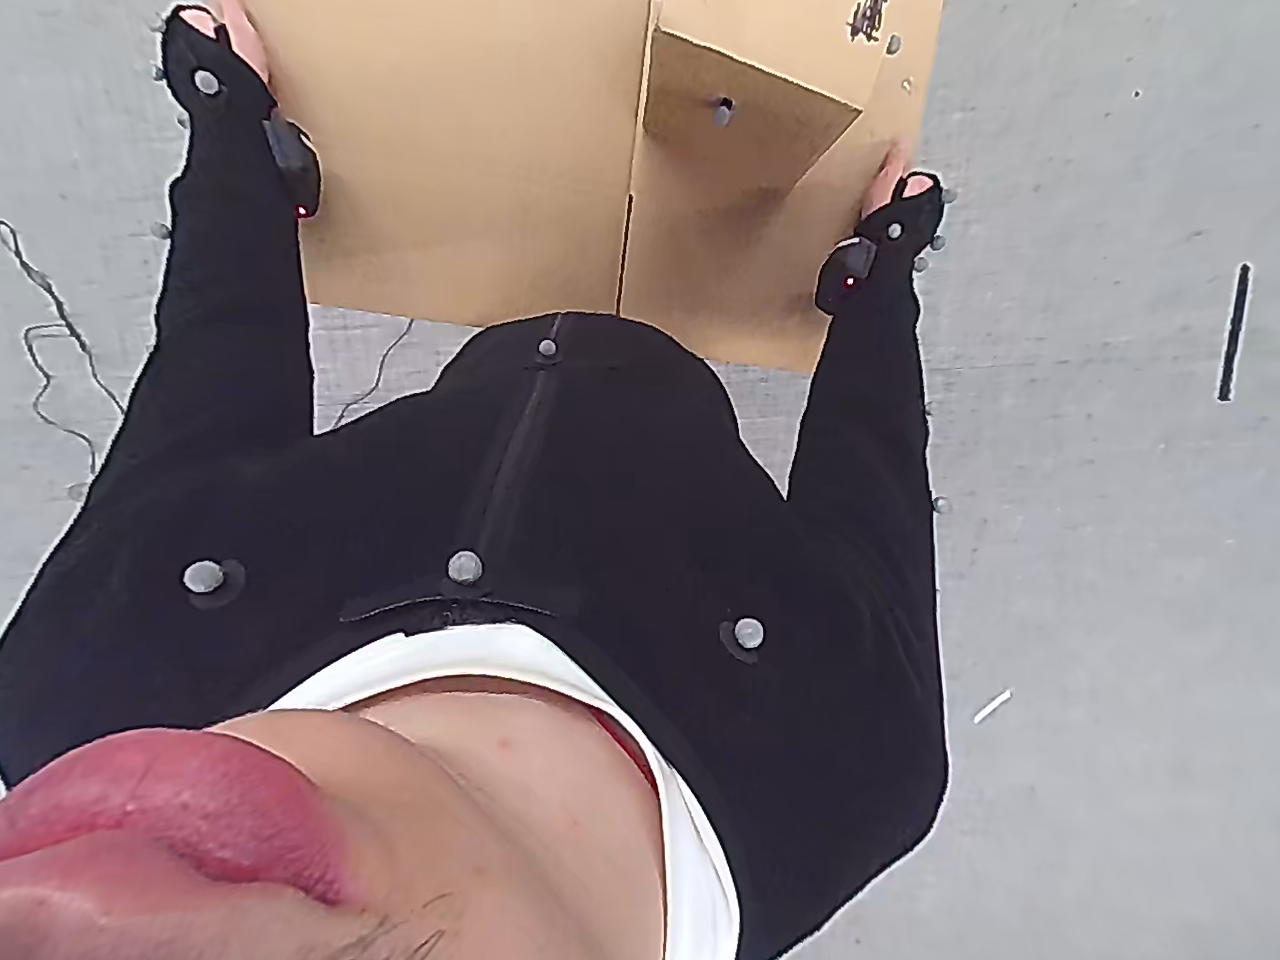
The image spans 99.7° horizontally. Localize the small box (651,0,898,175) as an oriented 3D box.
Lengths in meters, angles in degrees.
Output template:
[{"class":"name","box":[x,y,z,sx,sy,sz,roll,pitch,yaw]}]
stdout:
[{"class":"small box","box":[0.115,-0.408,0.487,0.179,0.176,0.168,17,100,-5]}]
